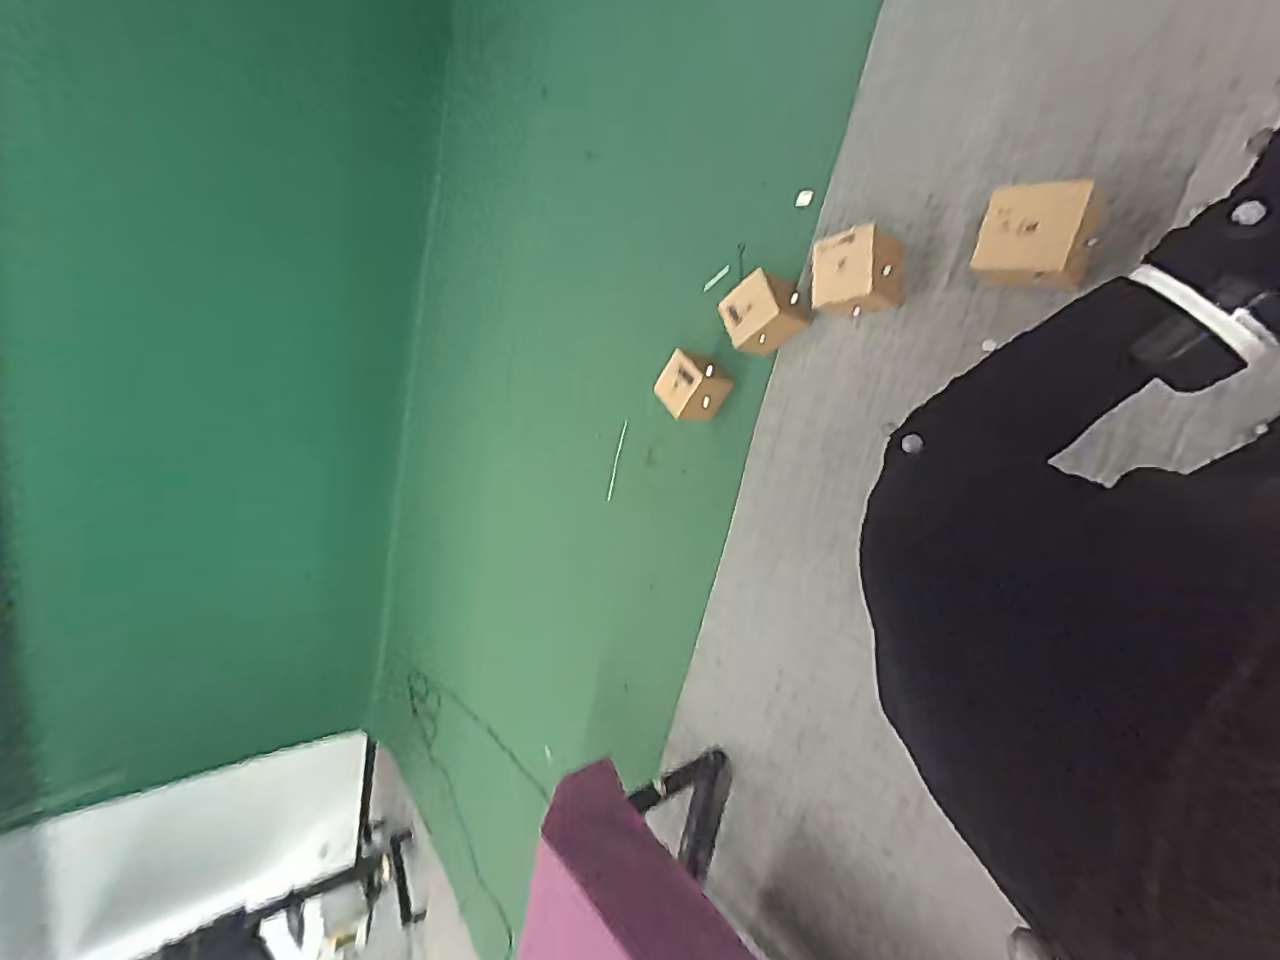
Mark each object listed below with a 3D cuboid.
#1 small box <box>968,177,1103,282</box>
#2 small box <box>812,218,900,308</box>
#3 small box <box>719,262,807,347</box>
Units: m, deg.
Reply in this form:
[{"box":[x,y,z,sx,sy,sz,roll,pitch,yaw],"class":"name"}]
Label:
[{"box":[0.847,-0.528,1.155,0.179,0.176,0.168,26,109,44],"class":"small box"},{"box":[0.580,-0.568,1.448,0.168,0.176,0.179,4,94,48],"class":"small box"},{"box":[0.381,-0.532,1.668,0.179,0.176,0.168,-34,66,42],"class":"small box"}]
